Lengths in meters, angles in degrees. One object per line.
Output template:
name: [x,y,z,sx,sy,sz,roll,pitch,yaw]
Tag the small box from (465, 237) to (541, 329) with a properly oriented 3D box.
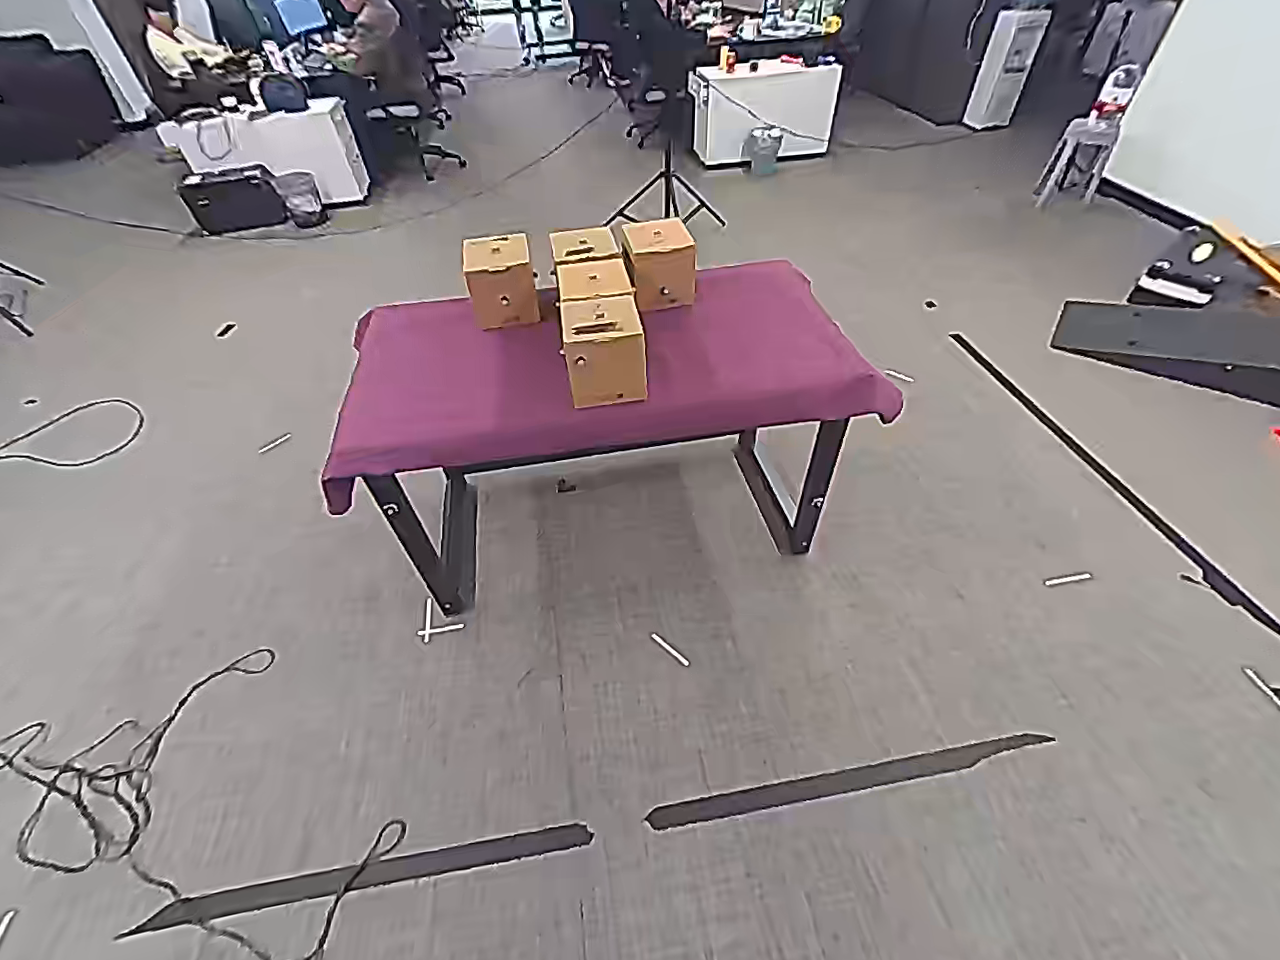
small box: [-0.363,-0.519,1.446,0.168,0.176,0.179,-10,50,-6]
